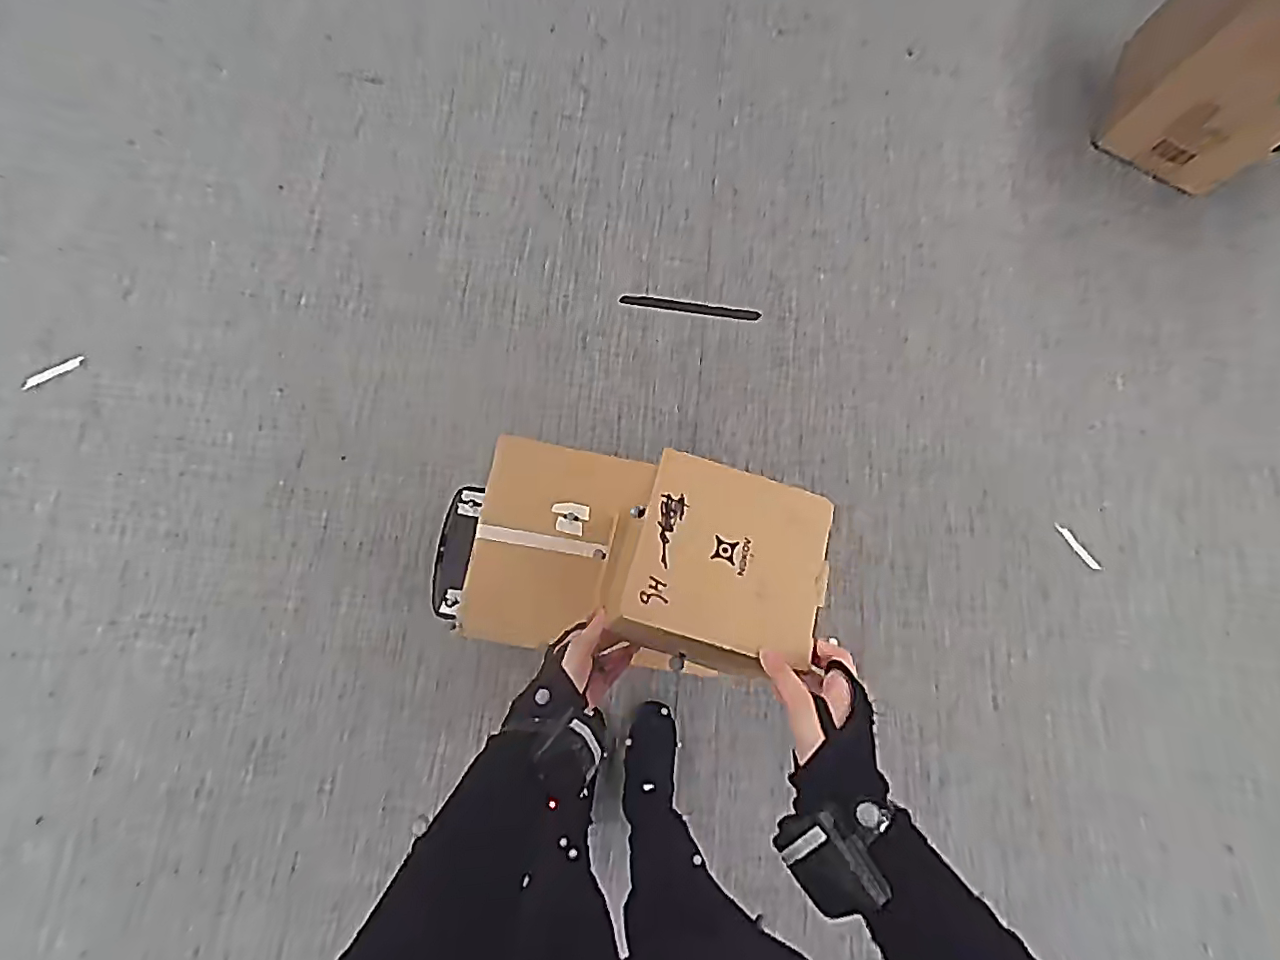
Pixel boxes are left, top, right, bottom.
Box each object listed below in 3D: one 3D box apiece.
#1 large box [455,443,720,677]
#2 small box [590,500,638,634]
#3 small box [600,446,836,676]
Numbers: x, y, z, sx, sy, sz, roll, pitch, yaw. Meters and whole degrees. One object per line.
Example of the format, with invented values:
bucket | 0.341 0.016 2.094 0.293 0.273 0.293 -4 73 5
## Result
large box | -0.066 0.149 0.976 0.408 0.320 0.320 10 76 -3
small box | 0.036 0.137 0.738 0.179 0.176 0.168 14 77 -3
small box | 0.070 0.093 0.554 0.179 0.176 0.168 18 66 -4
